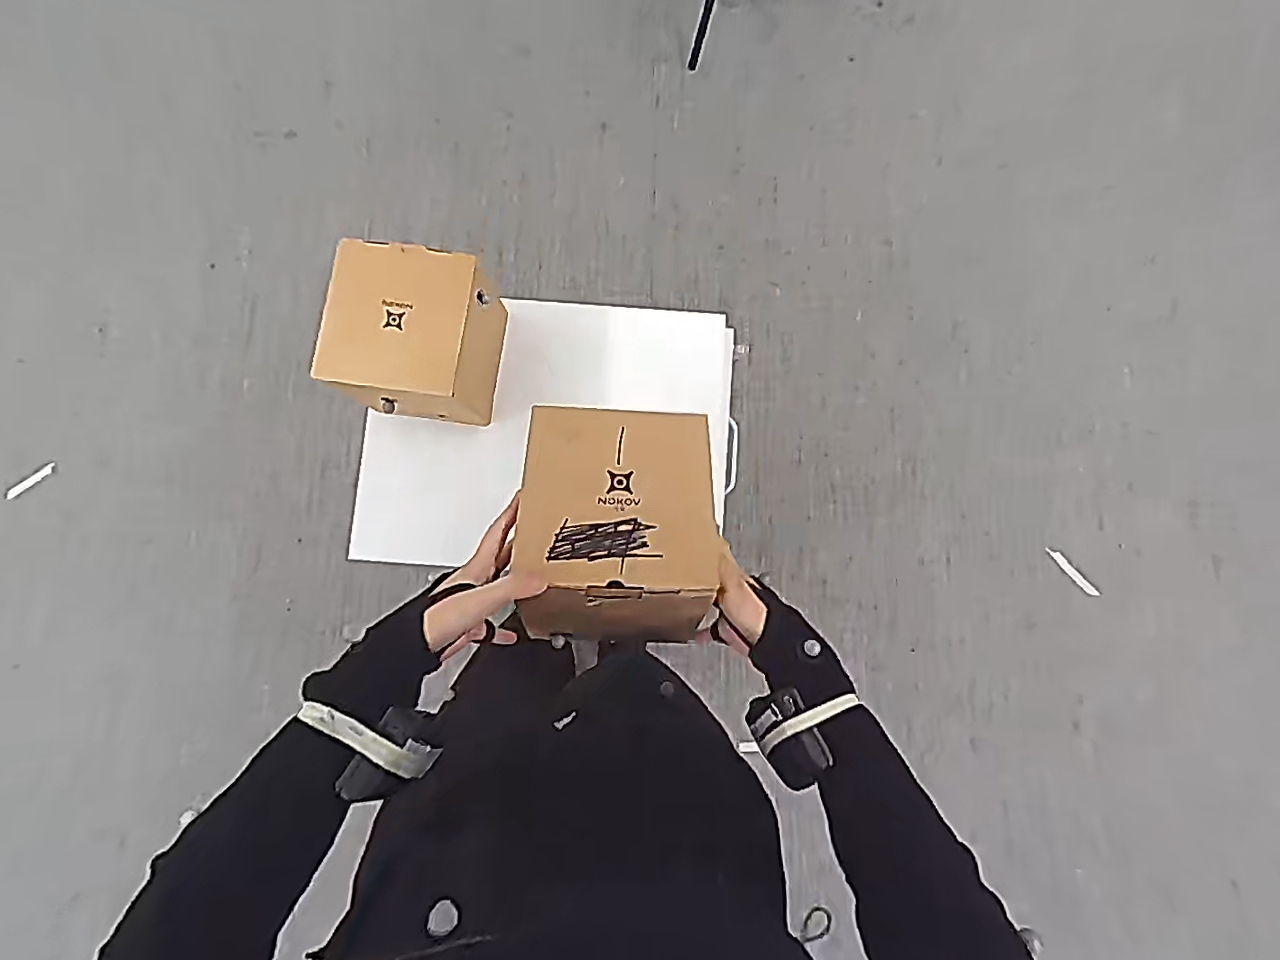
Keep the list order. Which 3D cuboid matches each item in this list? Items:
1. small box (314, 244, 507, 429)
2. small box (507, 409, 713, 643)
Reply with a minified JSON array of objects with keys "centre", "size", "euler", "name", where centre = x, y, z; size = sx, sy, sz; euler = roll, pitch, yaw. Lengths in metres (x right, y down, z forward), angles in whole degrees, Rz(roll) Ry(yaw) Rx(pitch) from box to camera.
[{"centre":[-0.282,-0.173,0.705],"size":[0.168,0.176,0.179],"euler":[8,82,0],"name":"small box"},{"centre":[-0.025,0.053,0.532],"size":[0.168,0.176,0.179],"euler":[3,58,-3],"name":"small box"}]
